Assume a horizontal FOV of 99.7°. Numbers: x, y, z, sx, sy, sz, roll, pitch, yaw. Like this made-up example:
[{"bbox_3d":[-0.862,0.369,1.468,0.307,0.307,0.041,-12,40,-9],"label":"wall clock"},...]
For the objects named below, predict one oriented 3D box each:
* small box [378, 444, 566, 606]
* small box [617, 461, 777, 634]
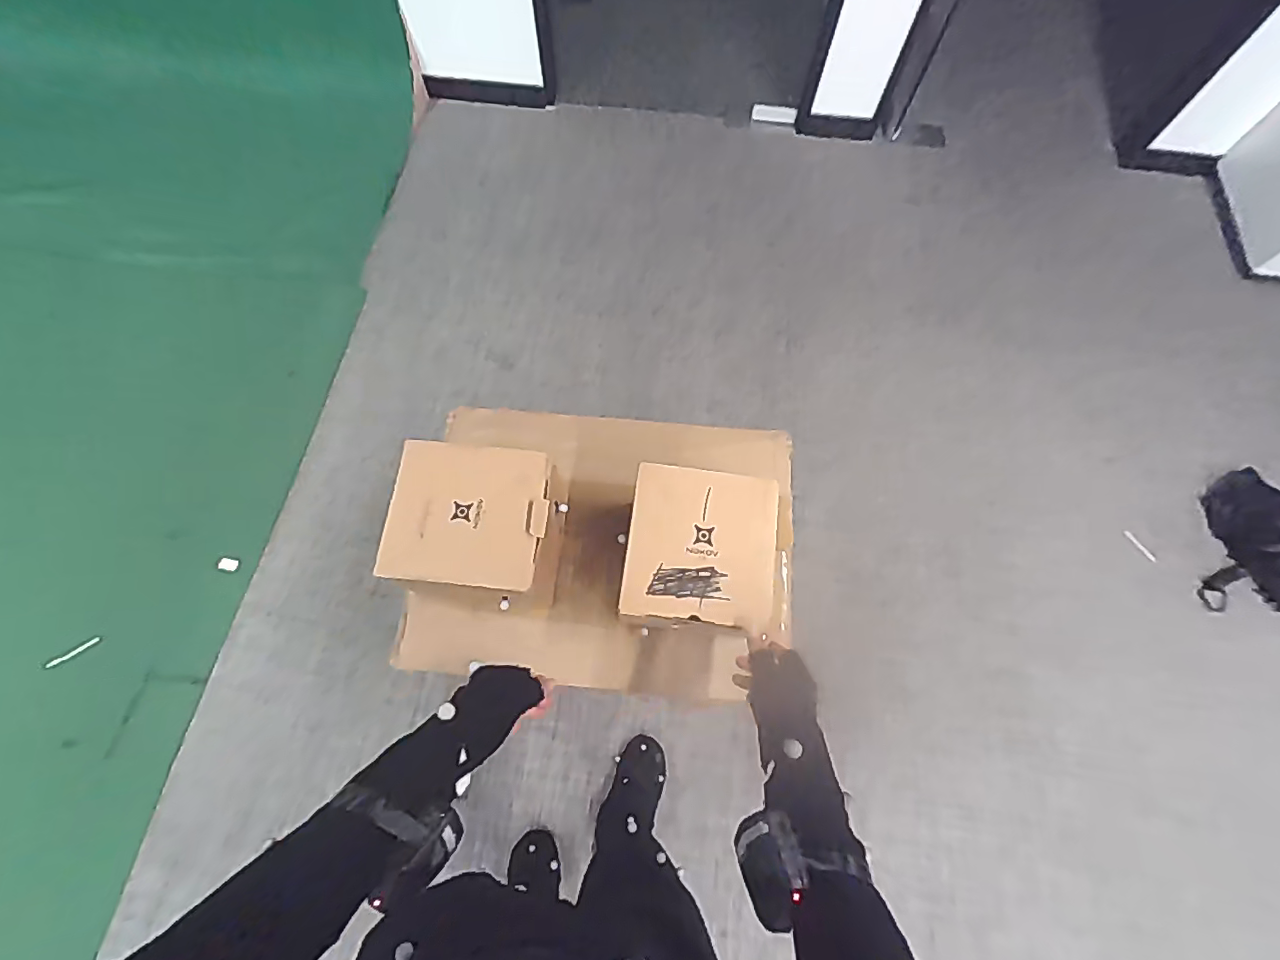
[{"bbox_3d":[-0.197,0.067,0.696,0.179,0.176,0.168,4,70,2],"label":"small box"},{"bbox_3d":[0.067,0.094,0.683,0.168,0.176,0.179,8,71,2],"label":"small box"}]
